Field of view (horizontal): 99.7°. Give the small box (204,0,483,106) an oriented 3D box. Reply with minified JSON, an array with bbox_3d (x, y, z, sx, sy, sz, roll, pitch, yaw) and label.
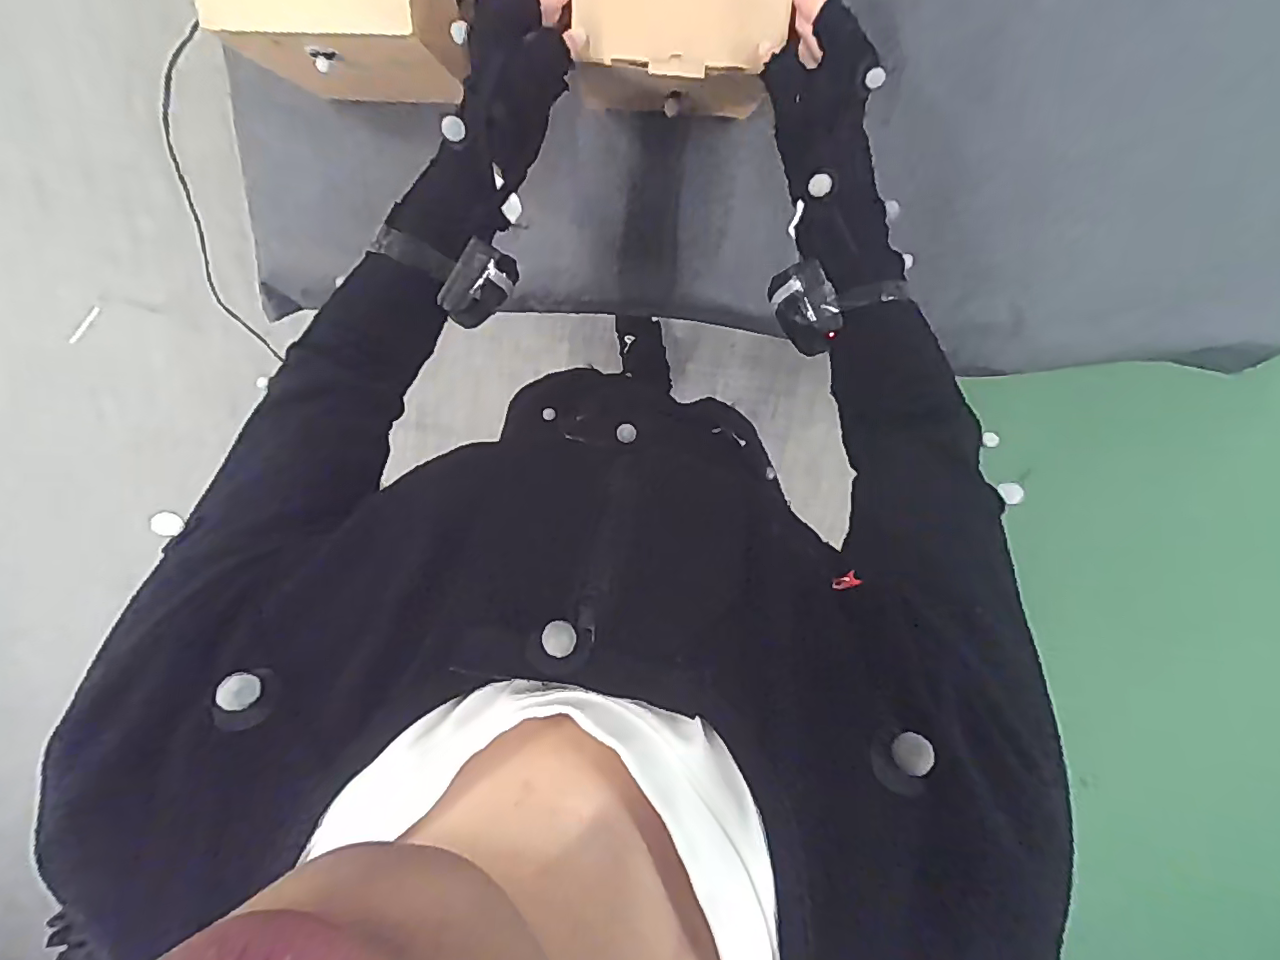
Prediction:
[{"bbox_3d":[-0.257,-0.459,0.488,0.179,0.176,0.168,2,110,1],"label":"small box"}]

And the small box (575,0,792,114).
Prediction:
[{"bbox_3d":[0.040,-0.430,0.459,0.168,0.176,0.179,4,115,1],"label":"small box"}]
